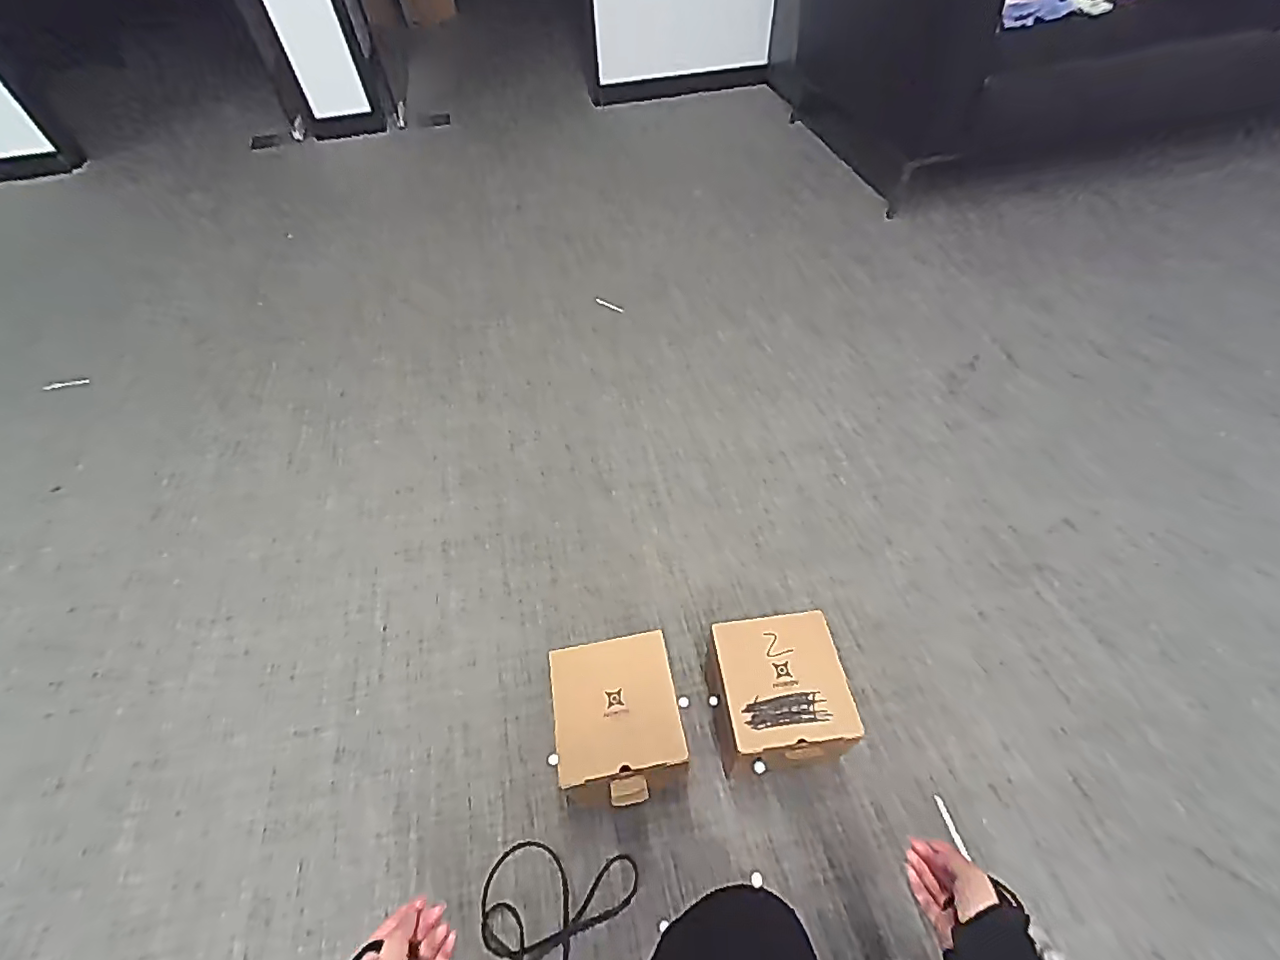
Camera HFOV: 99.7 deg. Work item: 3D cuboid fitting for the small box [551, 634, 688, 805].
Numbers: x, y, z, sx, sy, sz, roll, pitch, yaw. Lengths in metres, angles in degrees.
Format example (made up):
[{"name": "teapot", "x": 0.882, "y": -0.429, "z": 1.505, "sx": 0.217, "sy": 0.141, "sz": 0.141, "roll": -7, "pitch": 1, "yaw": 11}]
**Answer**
[{"name": "small box", "x": -0.032, "y": 0.350, "z": 0.787, "sx": 0.168, "sy": 0.176, "sz": 0.179, "roll": -10, "pitch": 53, "yaw": -5}]
